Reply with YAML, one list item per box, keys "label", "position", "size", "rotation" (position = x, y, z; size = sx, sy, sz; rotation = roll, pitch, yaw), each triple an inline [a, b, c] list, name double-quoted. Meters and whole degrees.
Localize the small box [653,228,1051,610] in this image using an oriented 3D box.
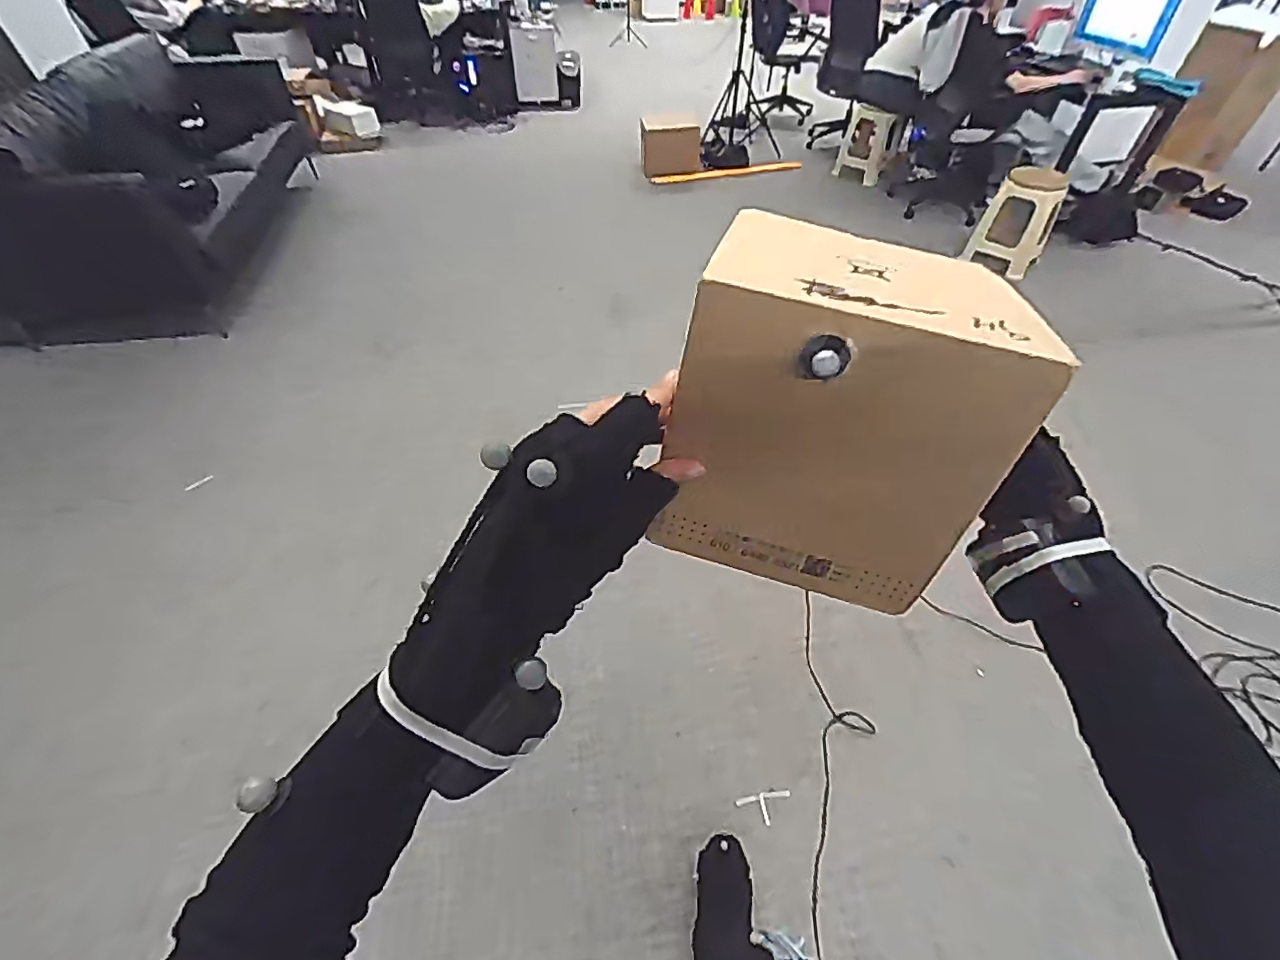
- label: "small box"
  position: [0.114, -0.049, 0.362]
  size: [0.168, 0.176, 0.179]
  rotation: [16, 37, 8]
